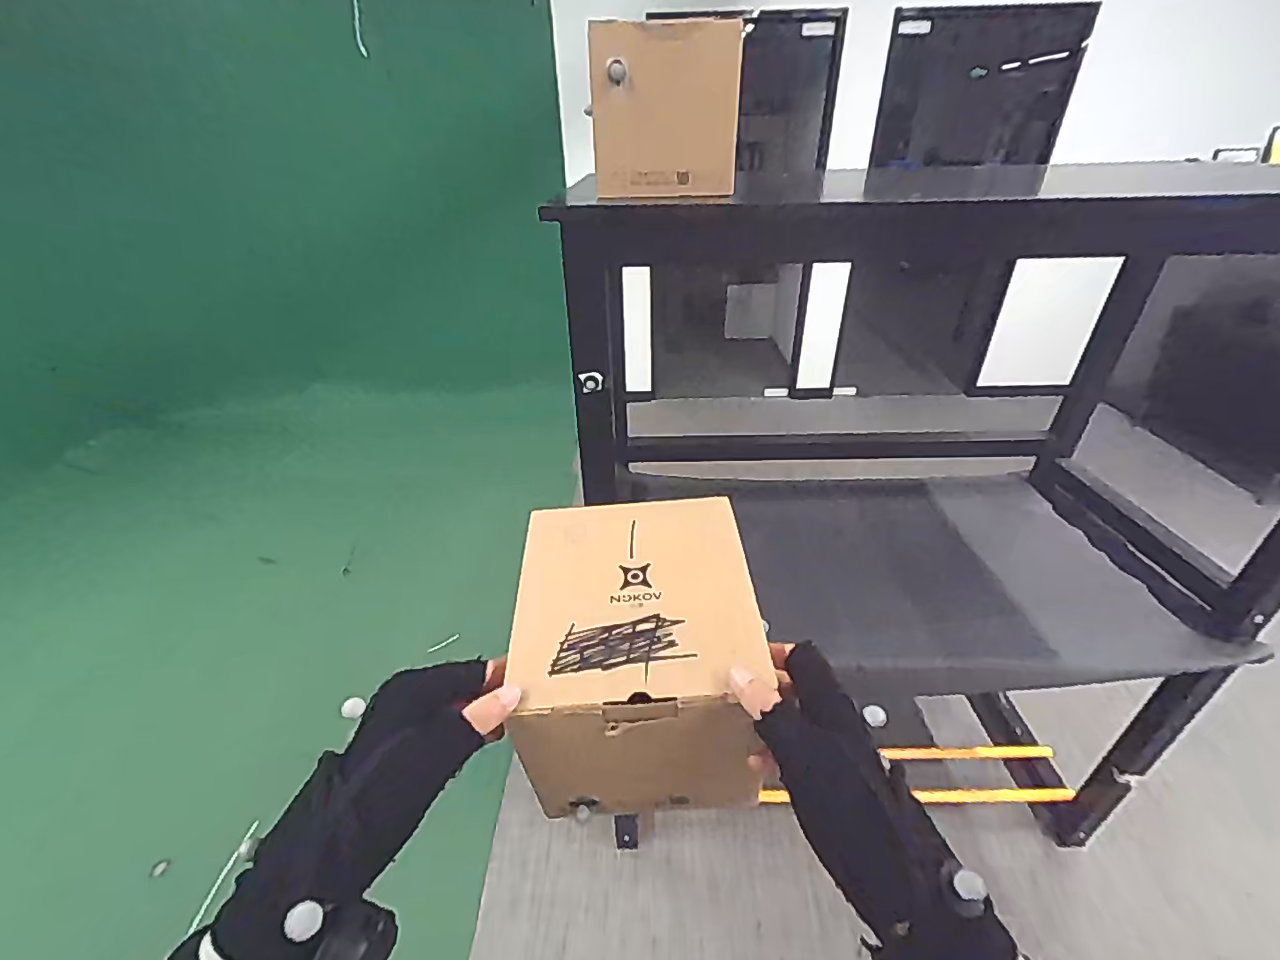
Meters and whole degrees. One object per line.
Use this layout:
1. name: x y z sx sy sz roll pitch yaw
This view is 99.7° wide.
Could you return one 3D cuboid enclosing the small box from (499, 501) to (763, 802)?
1. small box: -0.002 0.140 0.440 0.168 0.176 0.179 -4 39 0
